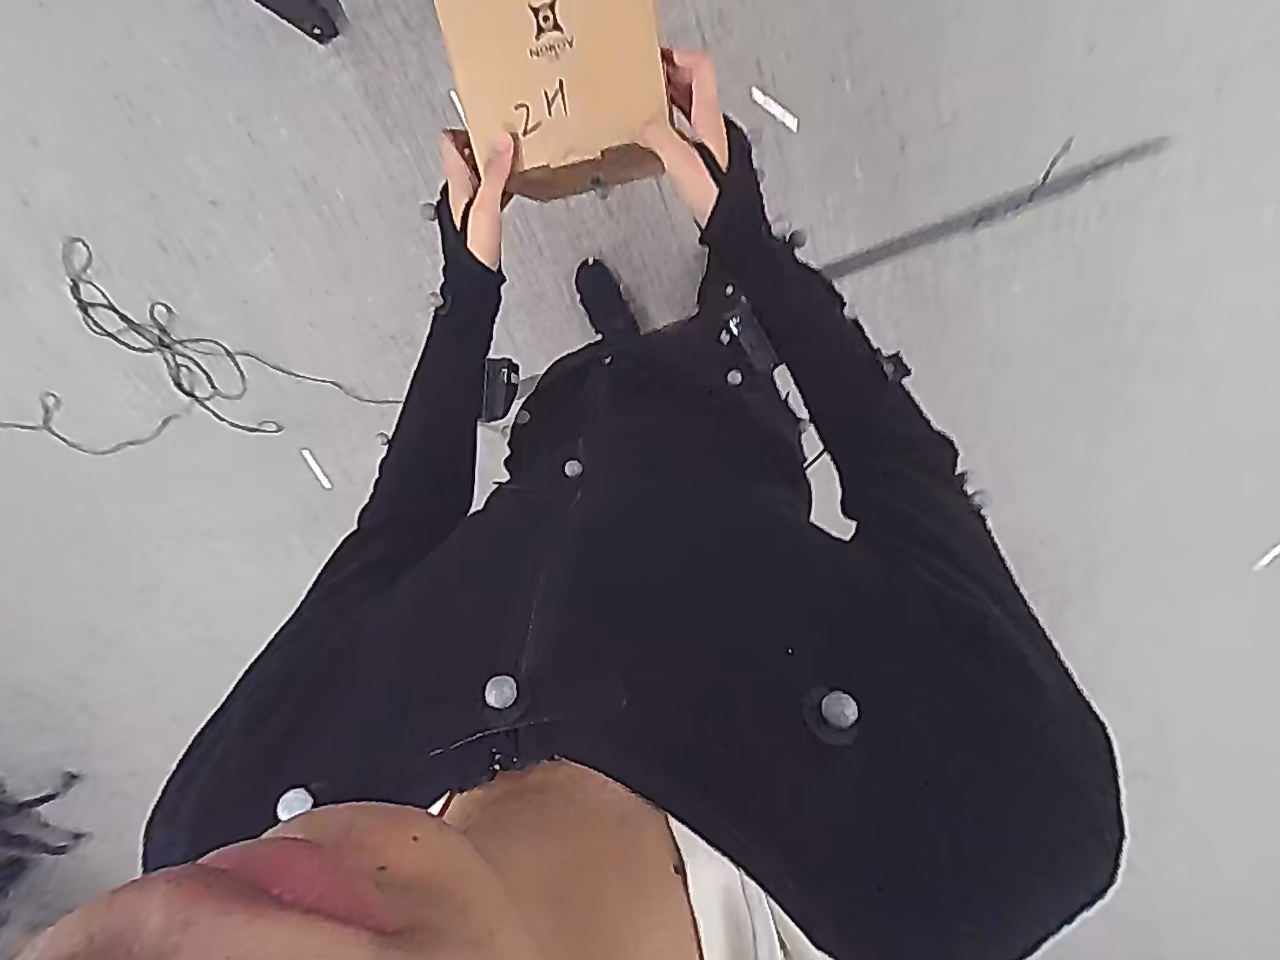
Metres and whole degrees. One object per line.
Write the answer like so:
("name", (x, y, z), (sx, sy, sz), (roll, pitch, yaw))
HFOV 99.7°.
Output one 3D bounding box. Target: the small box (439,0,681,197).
("small box", (-0.058, -0.371, 0.482), (0.168, 0.176, 0.179), (-7, 111, 11))
